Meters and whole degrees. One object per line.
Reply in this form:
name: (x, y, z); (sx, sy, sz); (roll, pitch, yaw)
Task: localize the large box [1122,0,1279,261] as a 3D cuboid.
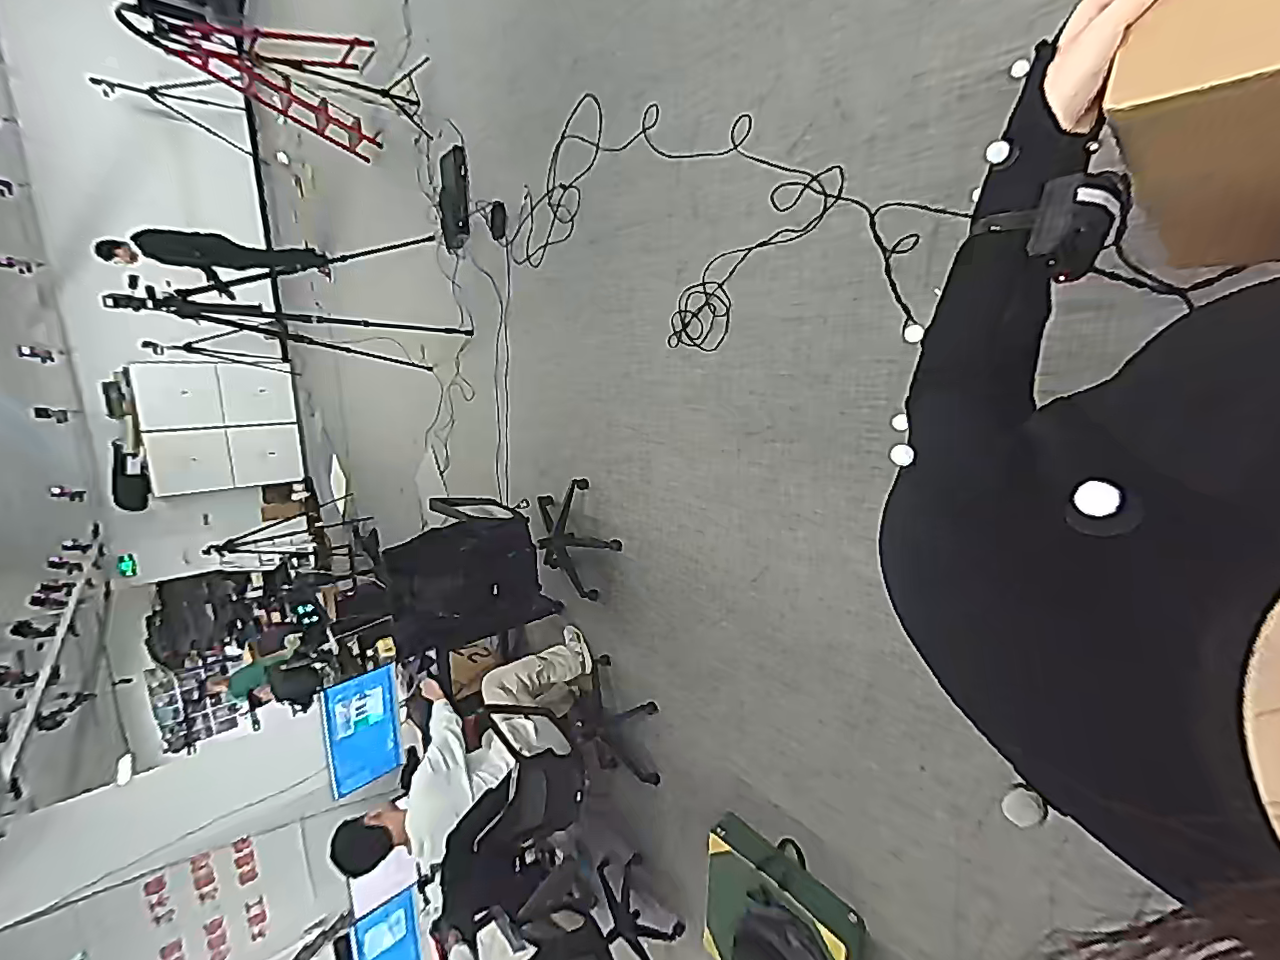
large box: (0.596, -0.358, 0.315); (0.408, 0.320, 0.320); (17, 97, 49)
